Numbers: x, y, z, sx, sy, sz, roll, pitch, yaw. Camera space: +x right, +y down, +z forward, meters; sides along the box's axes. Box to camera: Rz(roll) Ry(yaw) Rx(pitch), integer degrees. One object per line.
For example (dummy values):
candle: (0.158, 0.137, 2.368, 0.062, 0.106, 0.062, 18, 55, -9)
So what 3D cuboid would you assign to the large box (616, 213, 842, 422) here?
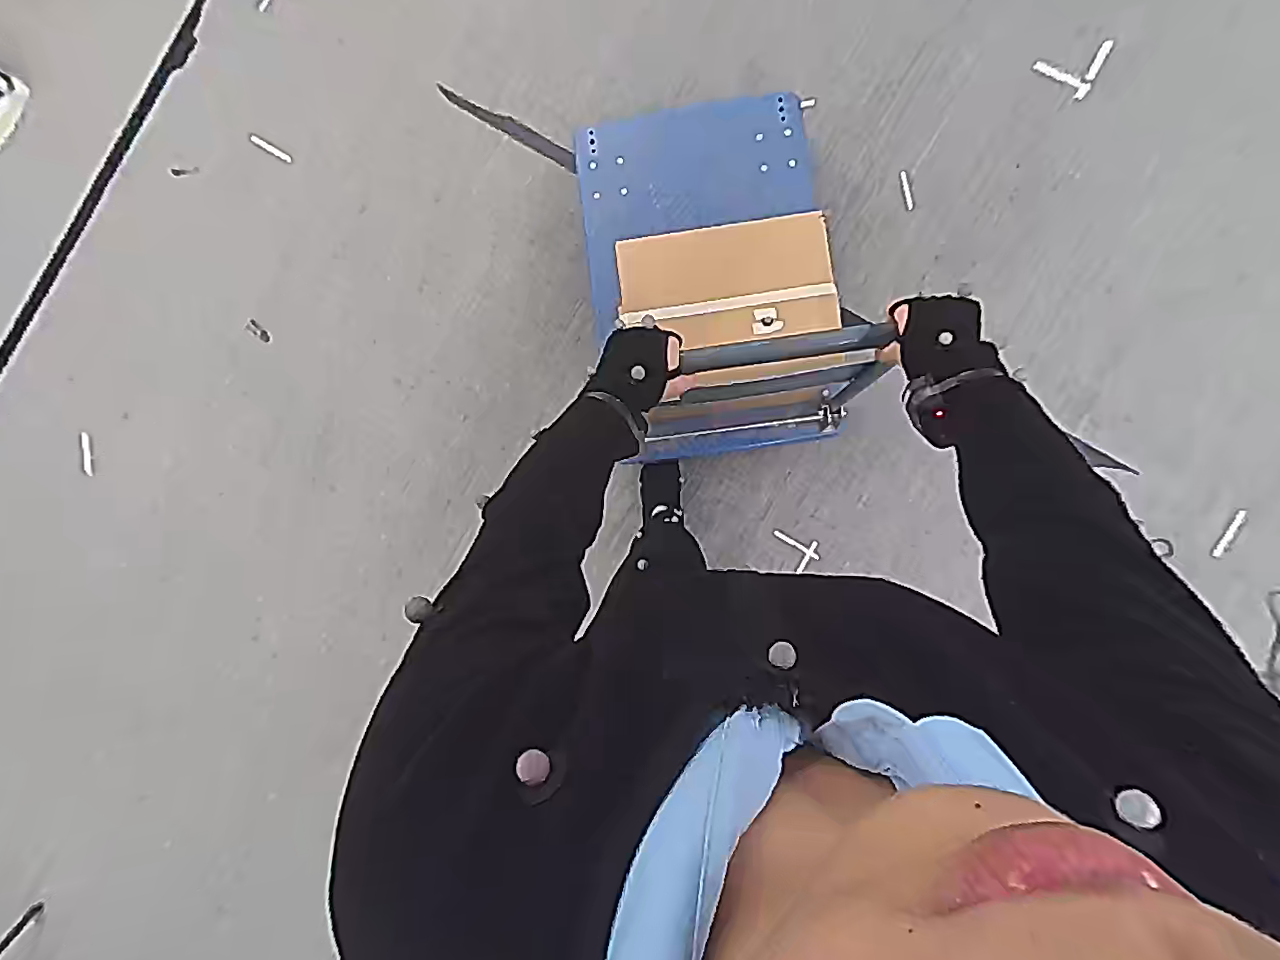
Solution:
large box: (0.174, -0.328, 1.186, 0.408, 0.320, 0.320, -8, 88, 2)
